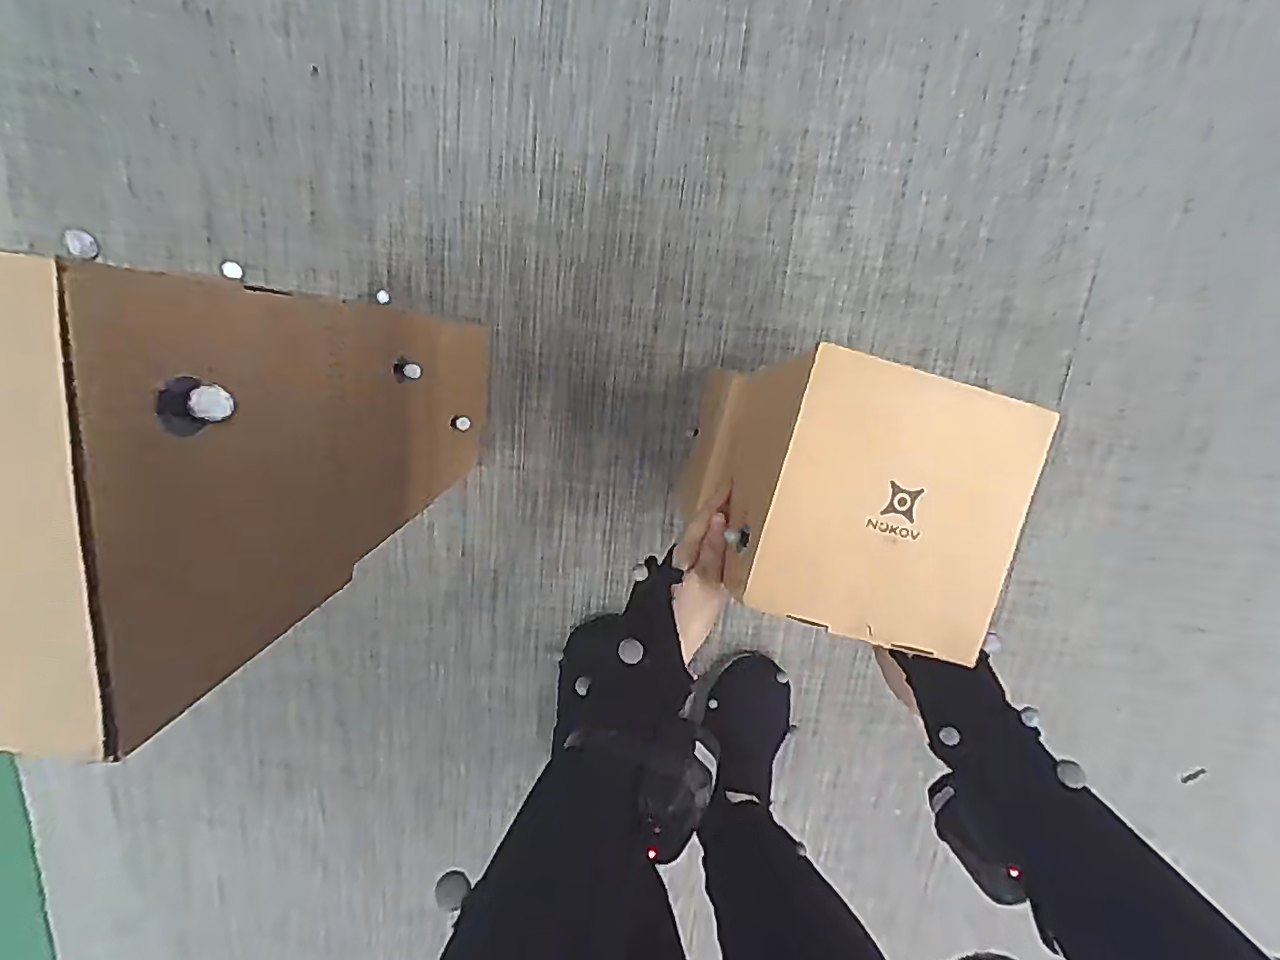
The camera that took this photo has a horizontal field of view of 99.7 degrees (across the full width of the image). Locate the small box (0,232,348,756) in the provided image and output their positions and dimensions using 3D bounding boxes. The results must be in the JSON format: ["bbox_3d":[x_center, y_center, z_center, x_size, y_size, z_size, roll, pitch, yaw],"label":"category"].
[{"bbox_3d":[-0.260,-0.012,0.251,0.168,0.176,0.179,7,103,-1],"label":"small box"}]

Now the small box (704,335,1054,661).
[{"bbox_3d":[0.156,0.007,0.418,0.168,0.176,0.179,15,95,-4],"label":"small box"}]

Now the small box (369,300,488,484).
[{"bbox_3d":[-0.268,-0.093,0.568,0.168,0.176,0.179,9,104,-3],"label":"small box"}]

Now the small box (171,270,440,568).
[{"bbox_3d":[-0.263,-0.053,0.411,0.168,0.176,0.179,6,104,-1],"label":"small box"}]
